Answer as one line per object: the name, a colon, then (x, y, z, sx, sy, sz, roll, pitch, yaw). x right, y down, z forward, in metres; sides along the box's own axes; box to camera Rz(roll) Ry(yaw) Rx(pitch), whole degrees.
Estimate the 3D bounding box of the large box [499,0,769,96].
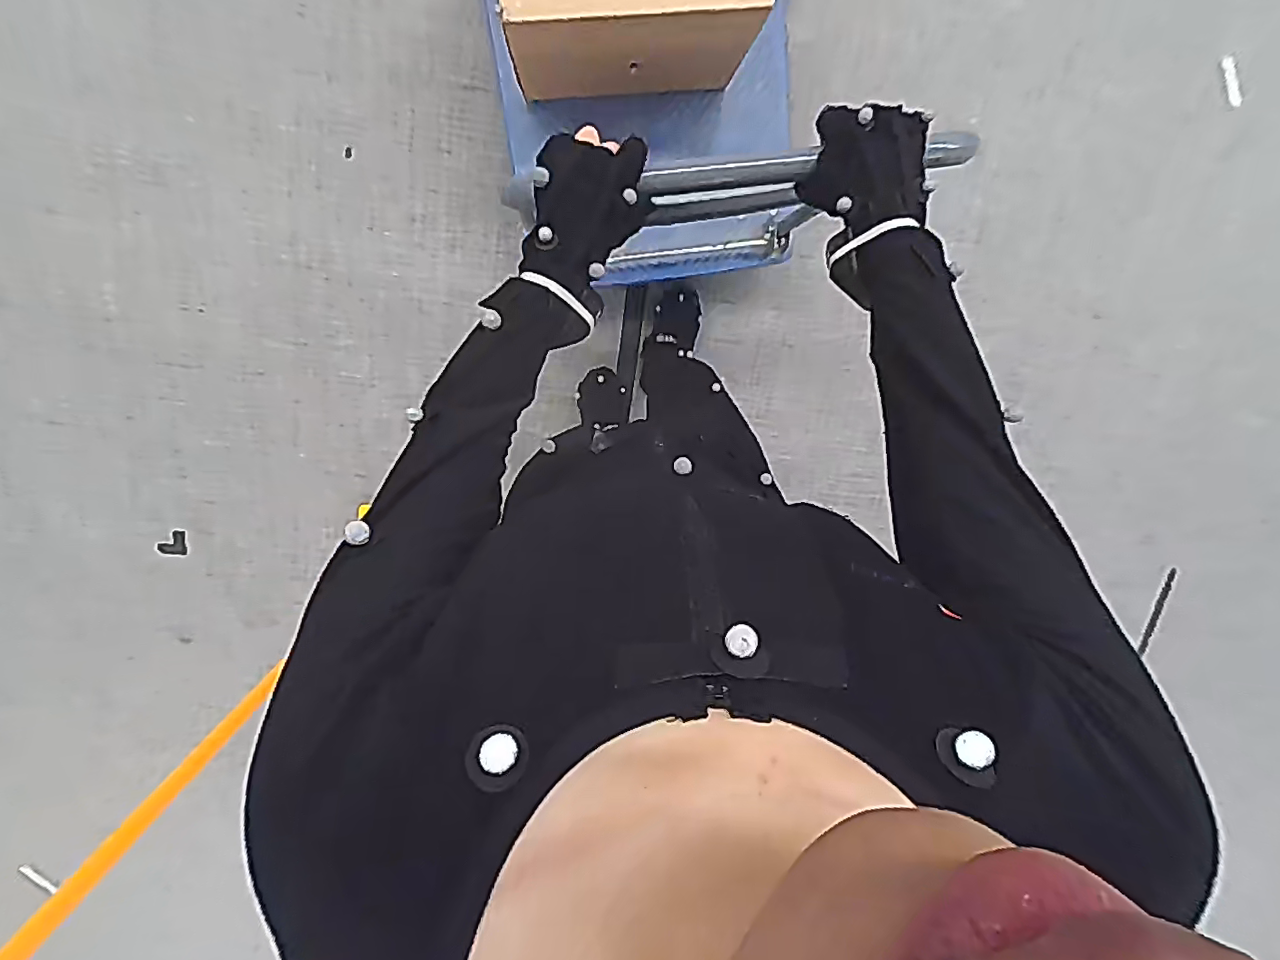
large box: (-0.028, -0.873, 0.888, 0.408, 0.320, 0.320, -6, 107, -3)
